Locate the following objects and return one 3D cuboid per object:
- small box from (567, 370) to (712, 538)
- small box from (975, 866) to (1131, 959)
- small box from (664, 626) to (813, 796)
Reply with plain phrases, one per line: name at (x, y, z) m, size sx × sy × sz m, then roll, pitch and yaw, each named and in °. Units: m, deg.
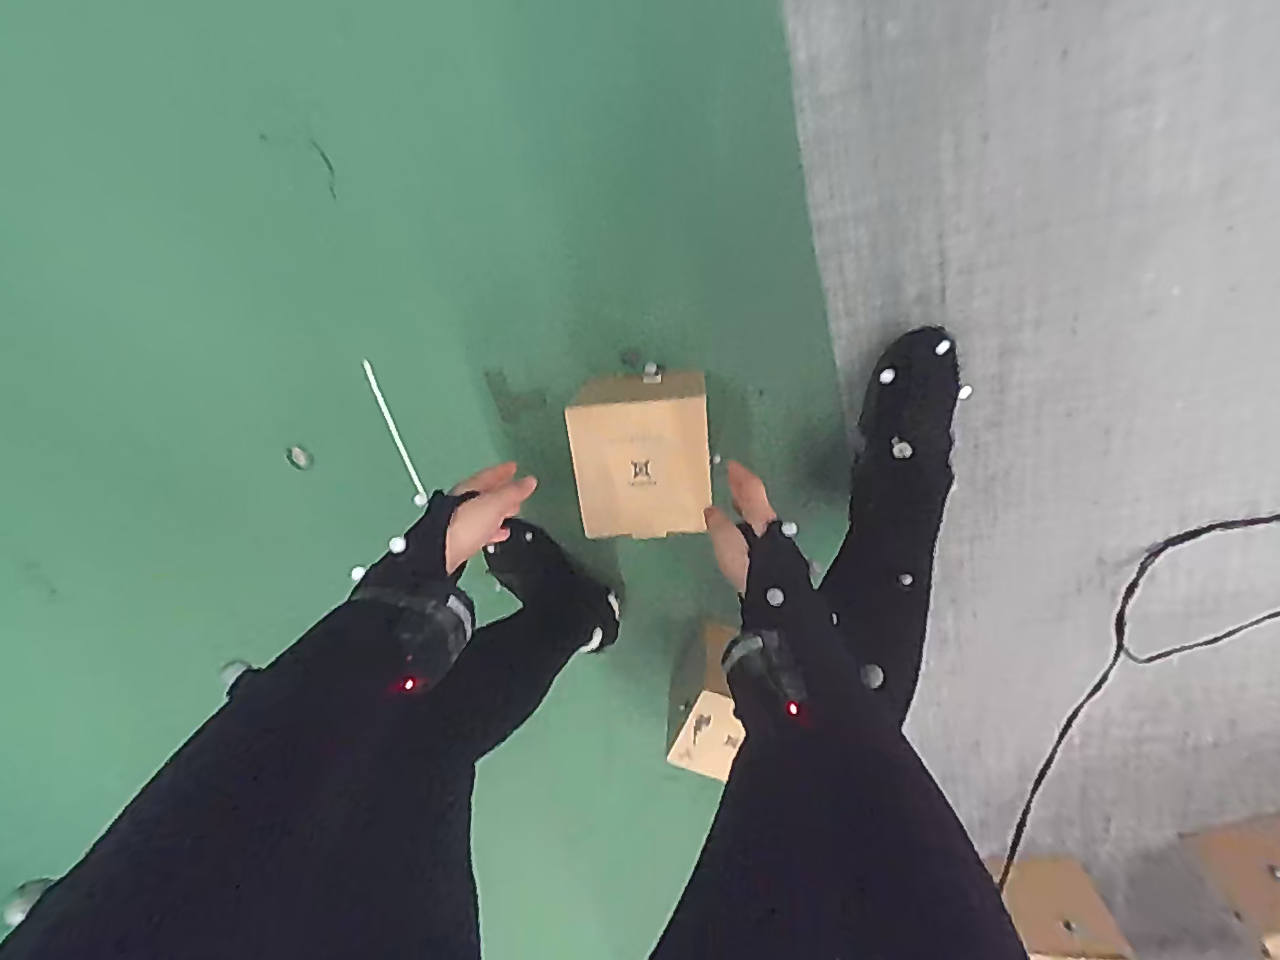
small box at (0.009, -0.040, 0.723) m, size 0.168 × 0.176 × 0.179 m, roll -4°, pitch 111°, yaw 6°
small box at (0.784, 0.879, 1.041) m, size 0.179 × 0.176 × 0.168 m, roll -7°, pitch 112°, yaw 9°
small box at (0.151, 0.368, 0.882) m, size 0.179 × 0.176 × 0.168 m, roll 20°, pitch 114°, yaw -4°
